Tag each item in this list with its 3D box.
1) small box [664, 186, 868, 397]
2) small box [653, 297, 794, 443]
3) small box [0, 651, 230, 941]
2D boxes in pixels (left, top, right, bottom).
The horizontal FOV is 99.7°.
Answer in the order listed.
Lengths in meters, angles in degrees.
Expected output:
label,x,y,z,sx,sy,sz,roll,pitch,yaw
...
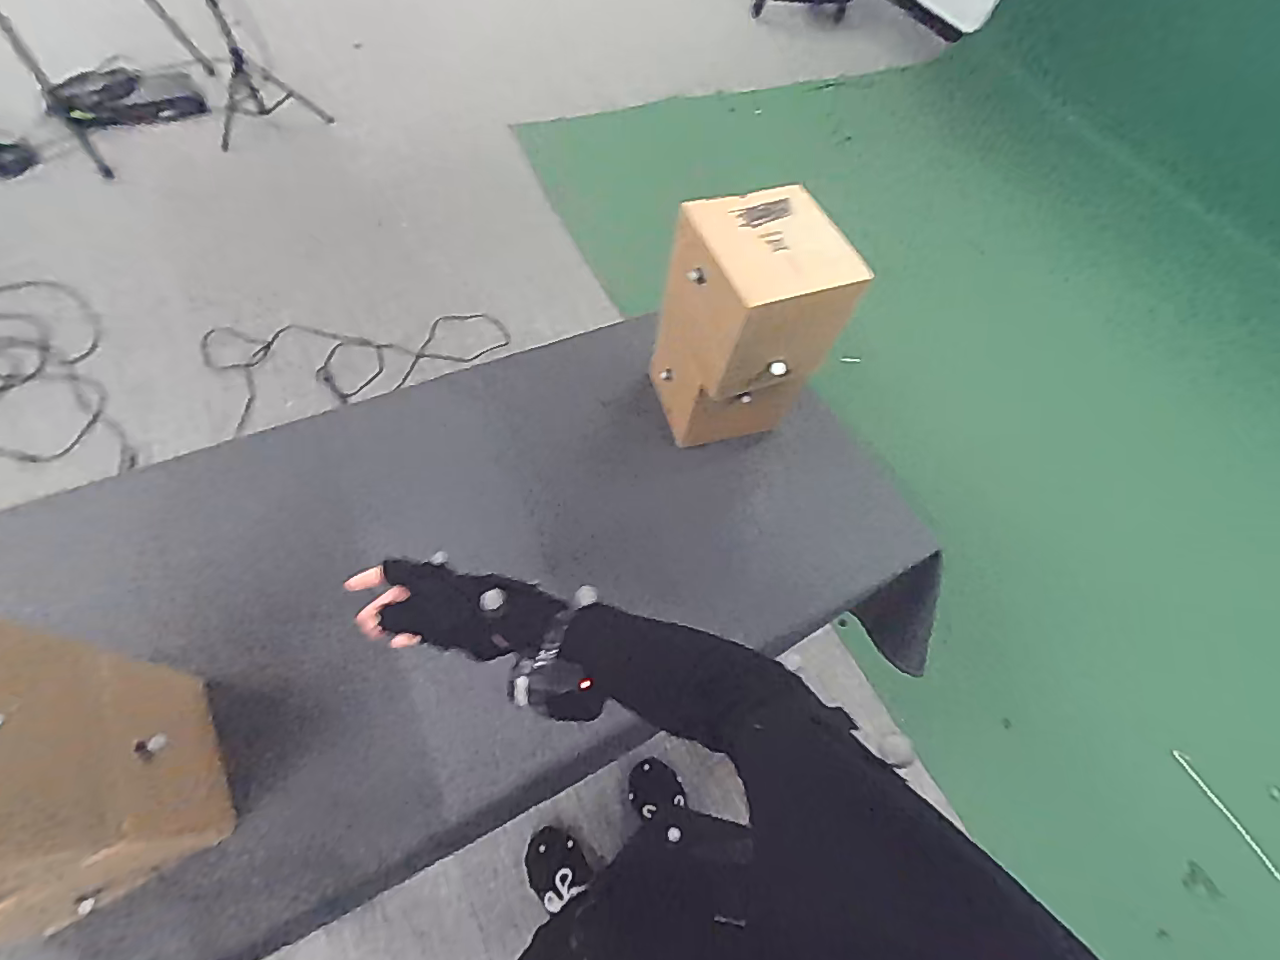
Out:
label,x,y,z,sx,sy,sz,roll,pitch,yaw
small box,0.143,-0.236,0.690,0.168,0.176,0.179,-18,66,-15
small box,0.126,-0.175,0.843,0.179,0.176,0.168,-12,64,-14
small box,-0.526,0.291,0.500,0.168,0.176,0.179,-25,67,-20
